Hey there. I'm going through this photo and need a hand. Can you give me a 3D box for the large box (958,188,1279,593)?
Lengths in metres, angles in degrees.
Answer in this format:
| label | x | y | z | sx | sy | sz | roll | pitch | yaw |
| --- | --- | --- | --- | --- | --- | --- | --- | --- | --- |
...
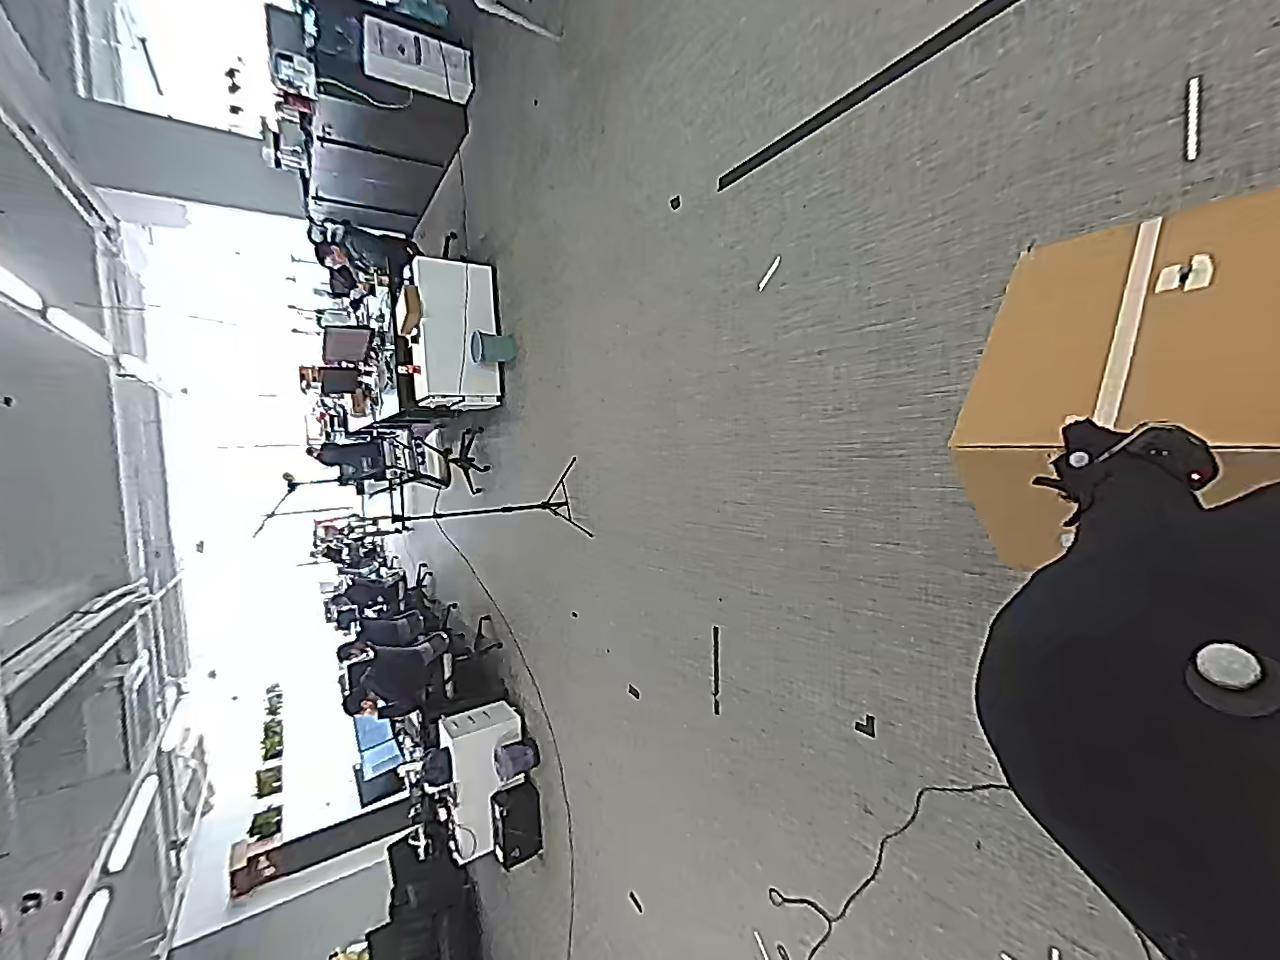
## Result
| label | x | y | z | sx | sy | sz | roll | pitch | yaw |
| --- | --- | --- | --- | --- | --- | --- | --- | --- | --- |
| large box | 0.700 | -0.109 | 0.750 | 0.320 | 0.320 | 0.408 | 6 | 58 | 50 |
